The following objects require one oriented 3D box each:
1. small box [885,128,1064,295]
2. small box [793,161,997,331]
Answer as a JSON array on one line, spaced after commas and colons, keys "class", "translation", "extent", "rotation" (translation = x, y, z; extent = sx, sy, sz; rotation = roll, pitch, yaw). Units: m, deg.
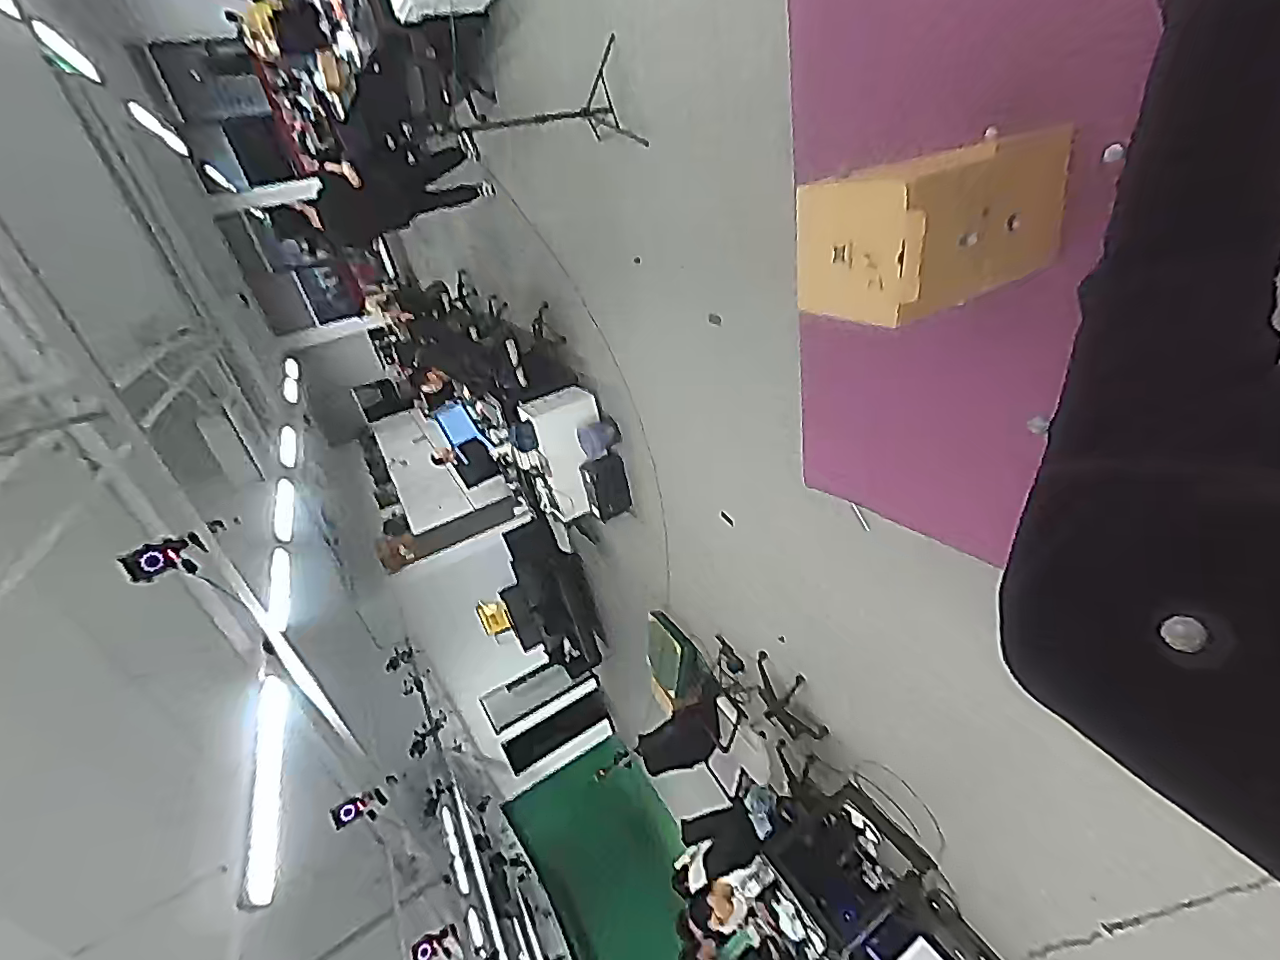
[{"class": "small box", "translation": [0.469, -0.378, 0.778], "extent": [0.168, 0.176, 0.179], "rotation": [31, 139, 56]}, {"class": "small box", "translation": [0.327, -0.315, 0.721], "extent": [0.179, 0.176, 0.168], "rotation": [37, 145, 51]}]
